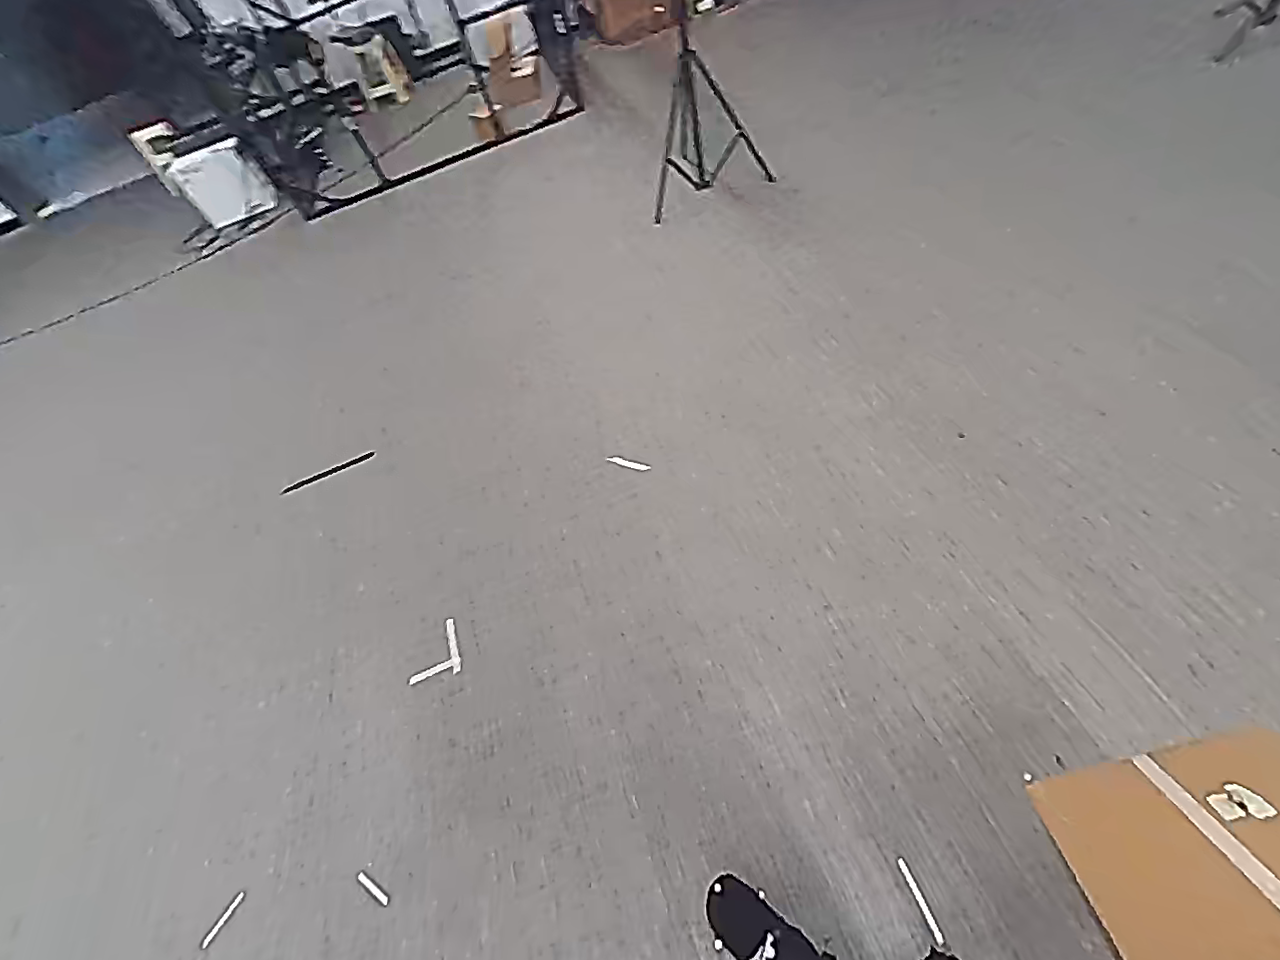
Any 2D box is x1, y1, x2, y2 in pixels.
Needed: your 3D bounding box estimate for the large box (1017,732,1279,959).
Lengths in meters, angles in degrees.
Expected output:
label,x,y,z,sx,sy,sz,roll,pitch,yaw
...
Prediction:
label,x,y,z,sx,sy,sz,roll,pitch,yaw
large box,0.717,0.555,0.587,0.320,0.408,0.320,-27,84,17
